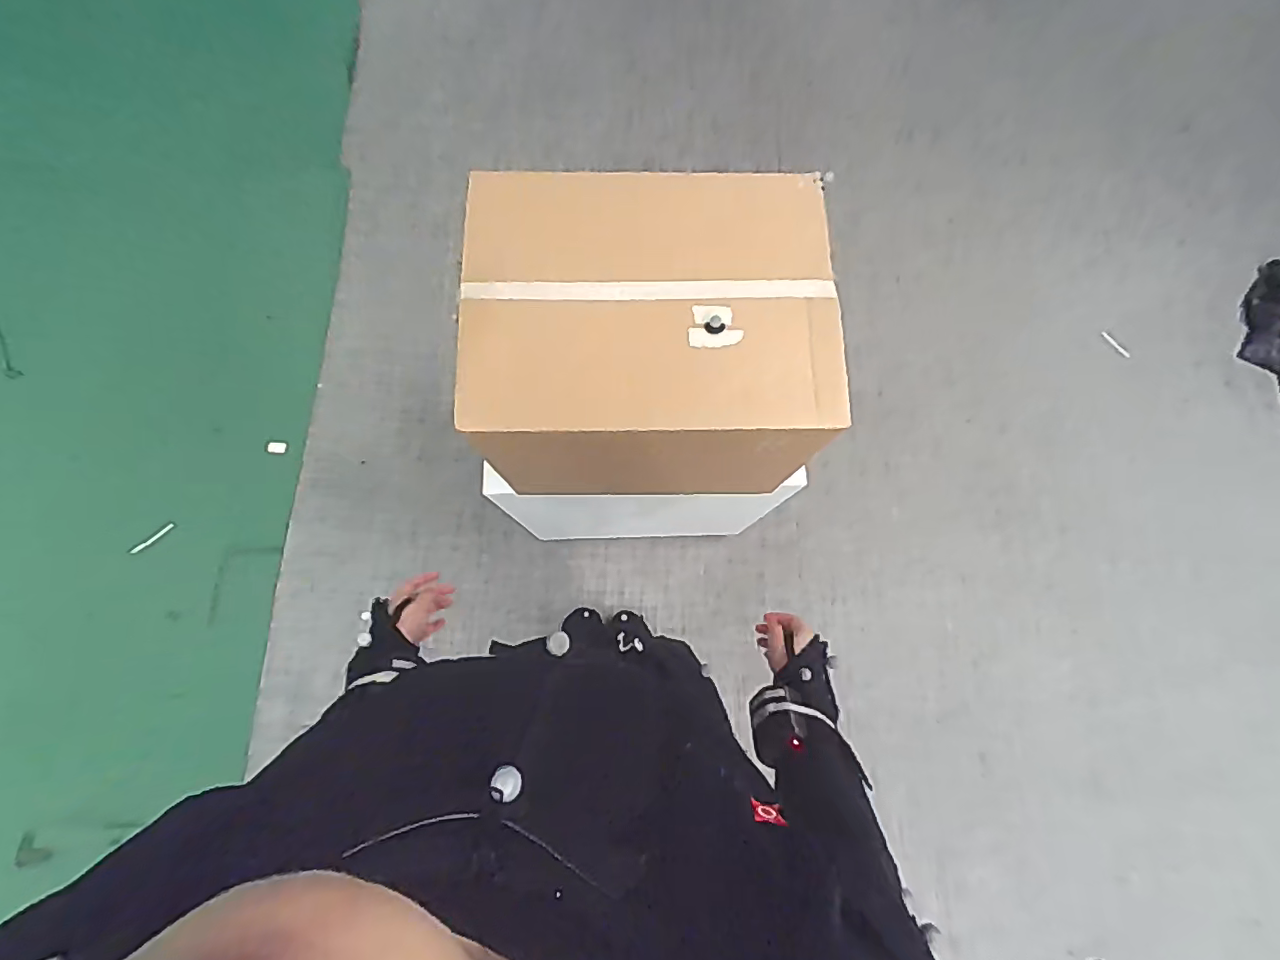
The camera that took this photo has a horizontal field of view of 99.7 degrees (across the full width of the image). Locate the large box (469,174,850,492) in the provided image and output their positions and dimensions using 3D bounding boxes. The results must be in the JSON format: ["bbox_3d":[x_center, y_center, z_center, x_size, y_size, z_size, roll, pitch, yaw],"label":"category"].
[{"bbox_3d":[0.010,-0.170,0.734,0.408,0.320,0.320,-1,77,-3],"label":"large box"}]
